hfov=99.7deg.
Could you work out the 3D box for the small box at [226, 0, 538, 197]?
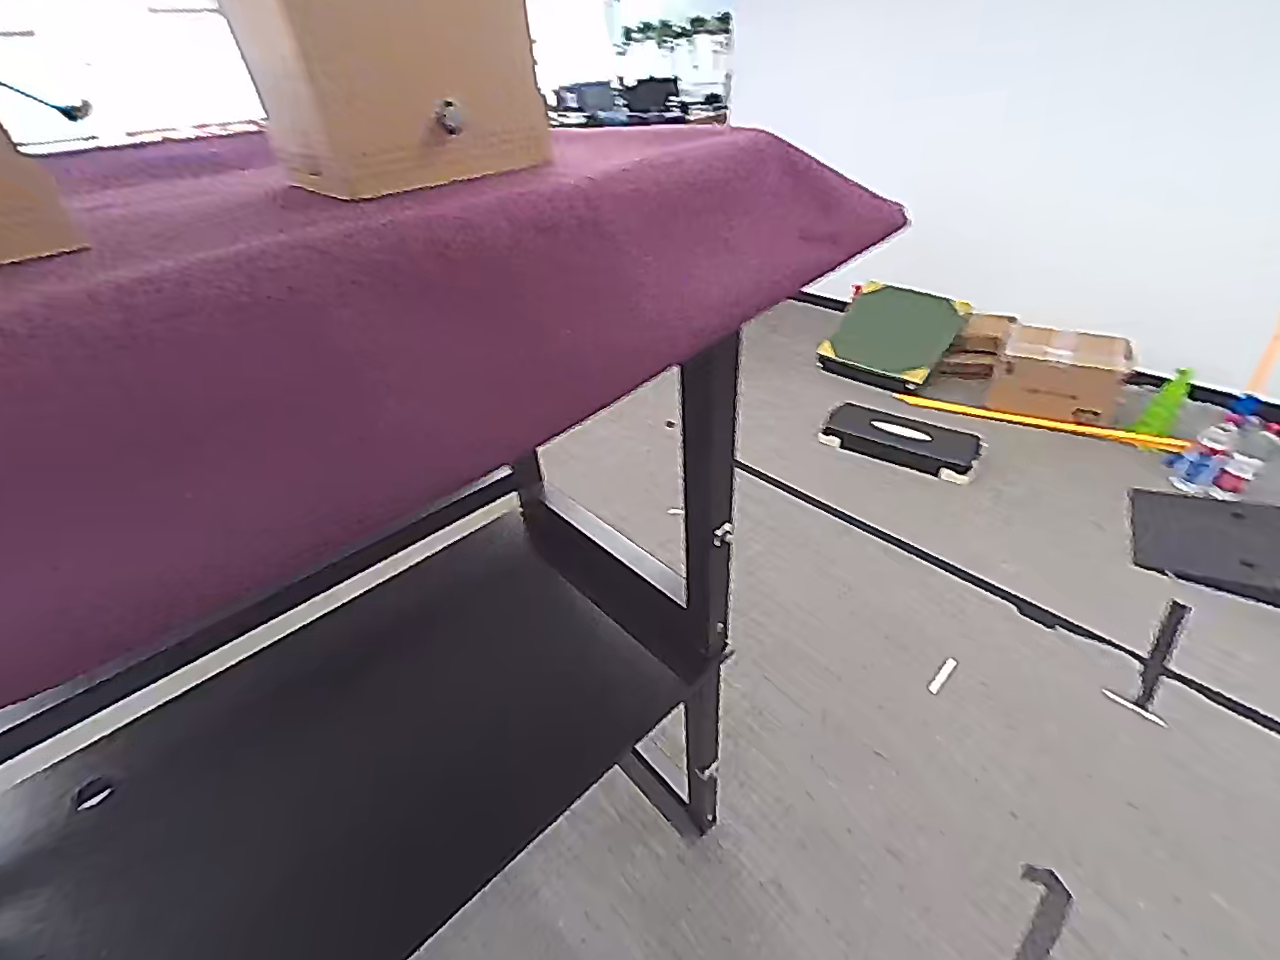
[{"bbox_3d":[-0.195,-0.333,0.419,0.179,0.176,0.168,-31,44,-30],"label":"small box"}]
